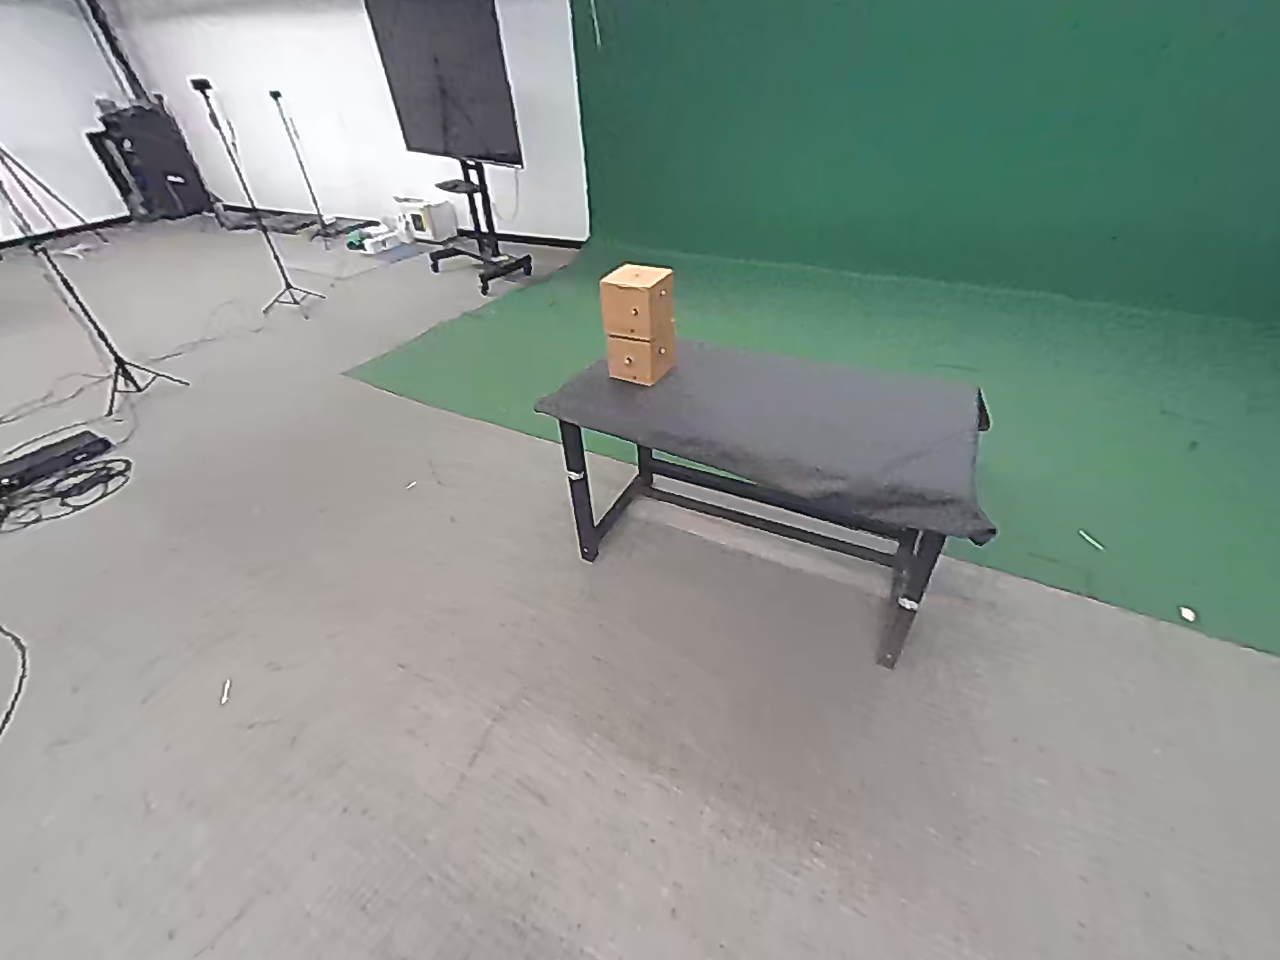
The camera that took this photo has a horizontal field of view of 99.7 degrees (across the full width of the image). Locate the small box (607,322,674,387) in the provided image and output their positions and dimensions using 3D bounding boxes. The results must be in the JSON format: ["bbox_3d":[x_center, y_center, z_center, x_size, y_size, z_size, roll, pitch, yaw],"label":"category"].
[{"bbox_3d":[0.009,-0.432,1.820,0.168,0.176,0.179,18,43,24],"label":"small box"}]

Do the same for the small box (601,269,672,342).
[{"bbox_3d":[-0.004,-0.552,1.709,0.168,0.176,0.179,17,41,22],"label":"small box"}]
